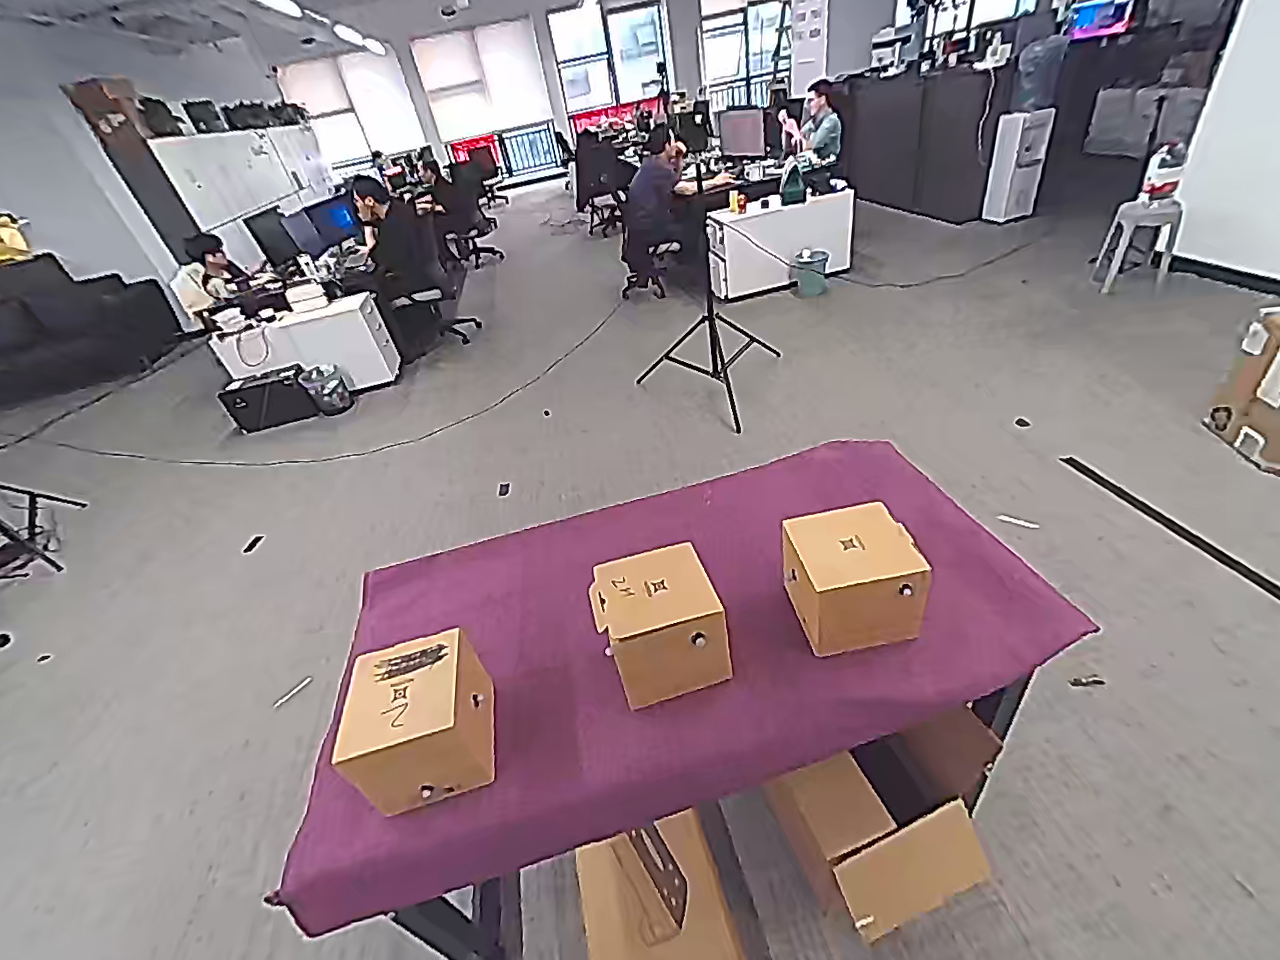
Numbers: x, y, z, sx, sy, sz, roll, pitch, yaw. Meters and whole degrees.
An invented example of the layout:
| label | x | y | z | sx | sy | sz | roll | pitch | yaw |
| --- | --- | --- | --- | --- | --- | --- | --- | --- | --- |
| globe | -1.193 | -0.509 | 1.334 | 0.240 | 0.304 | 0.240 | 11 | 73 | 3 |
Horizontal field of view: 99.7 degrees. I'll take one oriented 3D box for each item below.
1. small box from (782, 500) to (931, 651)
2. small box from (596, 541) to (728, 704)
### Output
| label | x | y | z | sx | sy | sz | roll | pitch | yaw |
| --- | --- | --- | --- | --- | --- | --- | --- | --- | --- |
| small box | 0.349 | 0.161 | 0.901 | 0.179 | 0.176 | 0.168 | -12 | 36 | 0 |
| small box | 0.039 | 0.234 | 0.890 | 0.179 | 0.176 | 0.168 | -16 | 34 | -5 |
